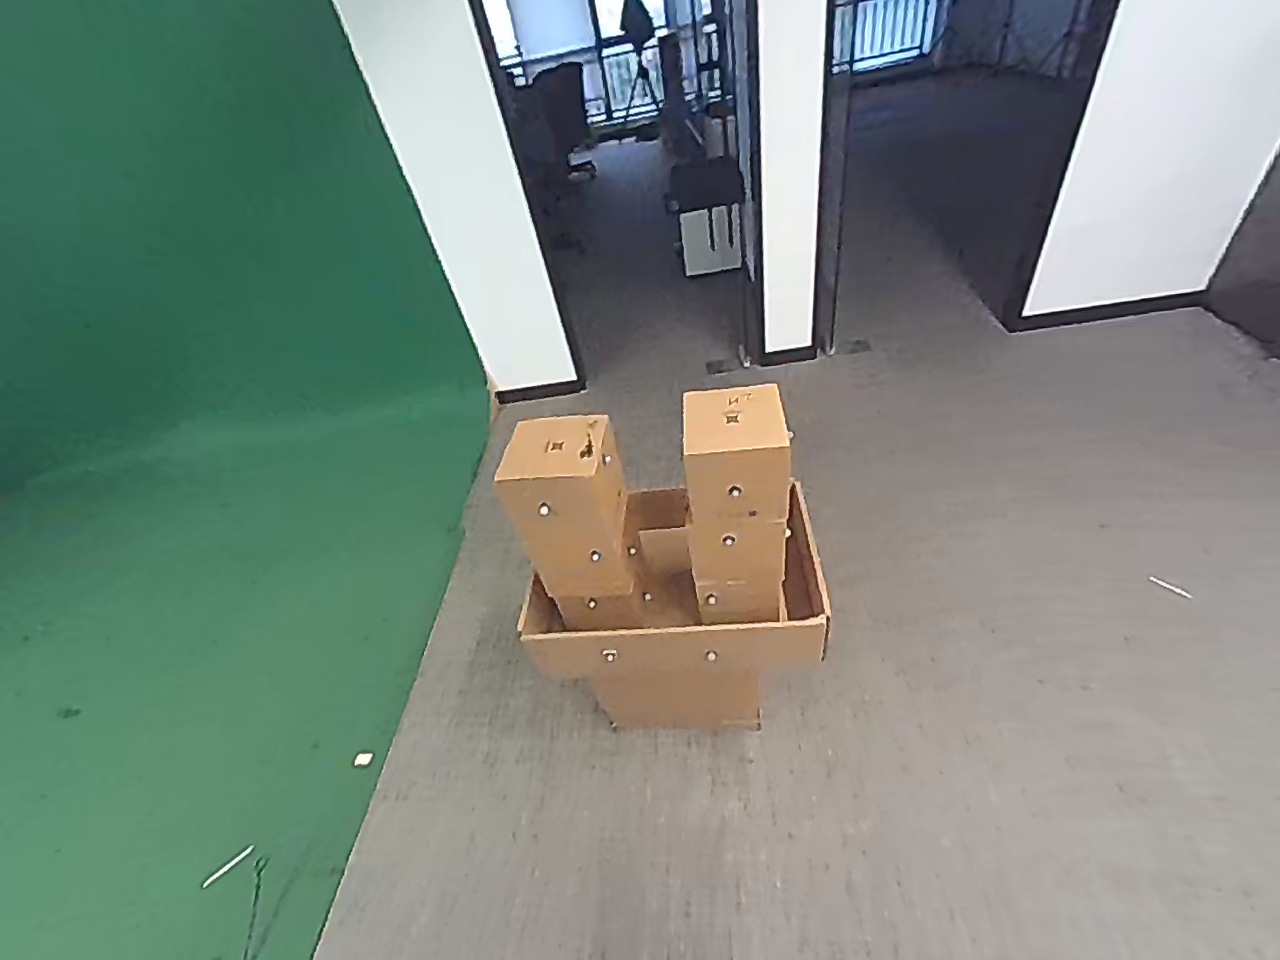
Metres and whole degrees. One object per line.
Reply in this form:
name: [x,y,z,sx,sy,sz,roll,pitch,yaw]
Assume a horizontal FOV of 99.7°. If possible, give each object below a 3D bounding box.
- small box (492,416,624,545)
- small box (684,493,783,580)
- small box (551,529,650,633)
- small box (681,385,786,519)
small box: [-0.137,0.004,0.982,0.179,0.176,0.168,-4,43,11]
small box: [0.185,0.082,1.055,0.179,0.176,0.168,-3,42,10]
small box: [-0.082,0.229,1.213,0.179,0.176,0.168,-4,43,9]
small box: [0.164,-0.043,0.948,0.168,0.176,0.179,-4,42,9]
